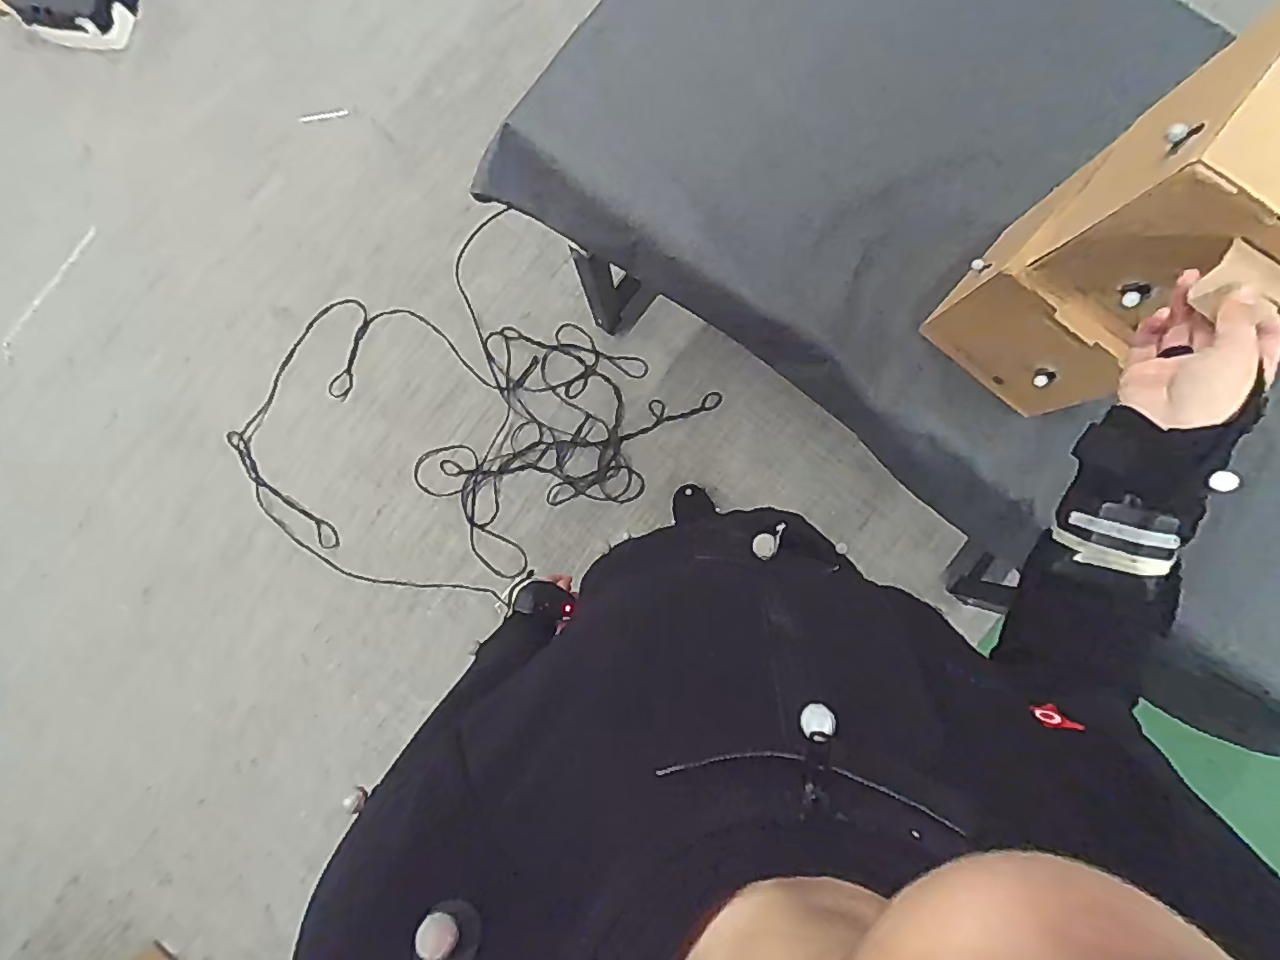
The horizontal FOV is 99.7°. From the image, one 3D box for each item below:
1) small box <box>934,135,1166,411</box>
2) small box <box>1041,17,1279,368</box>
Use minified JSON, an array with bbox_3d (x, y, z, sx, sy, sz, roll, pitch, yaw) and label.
[{"bbox_3d":[0.449,-0.195,0.567,0.168,0.176,0.179,41,87,3],"label":"small box"},{"bbox_3d":[0.458,-0.211,0.400,0.168,0.176,0.179,37,92,4],"label":"small box"}]
